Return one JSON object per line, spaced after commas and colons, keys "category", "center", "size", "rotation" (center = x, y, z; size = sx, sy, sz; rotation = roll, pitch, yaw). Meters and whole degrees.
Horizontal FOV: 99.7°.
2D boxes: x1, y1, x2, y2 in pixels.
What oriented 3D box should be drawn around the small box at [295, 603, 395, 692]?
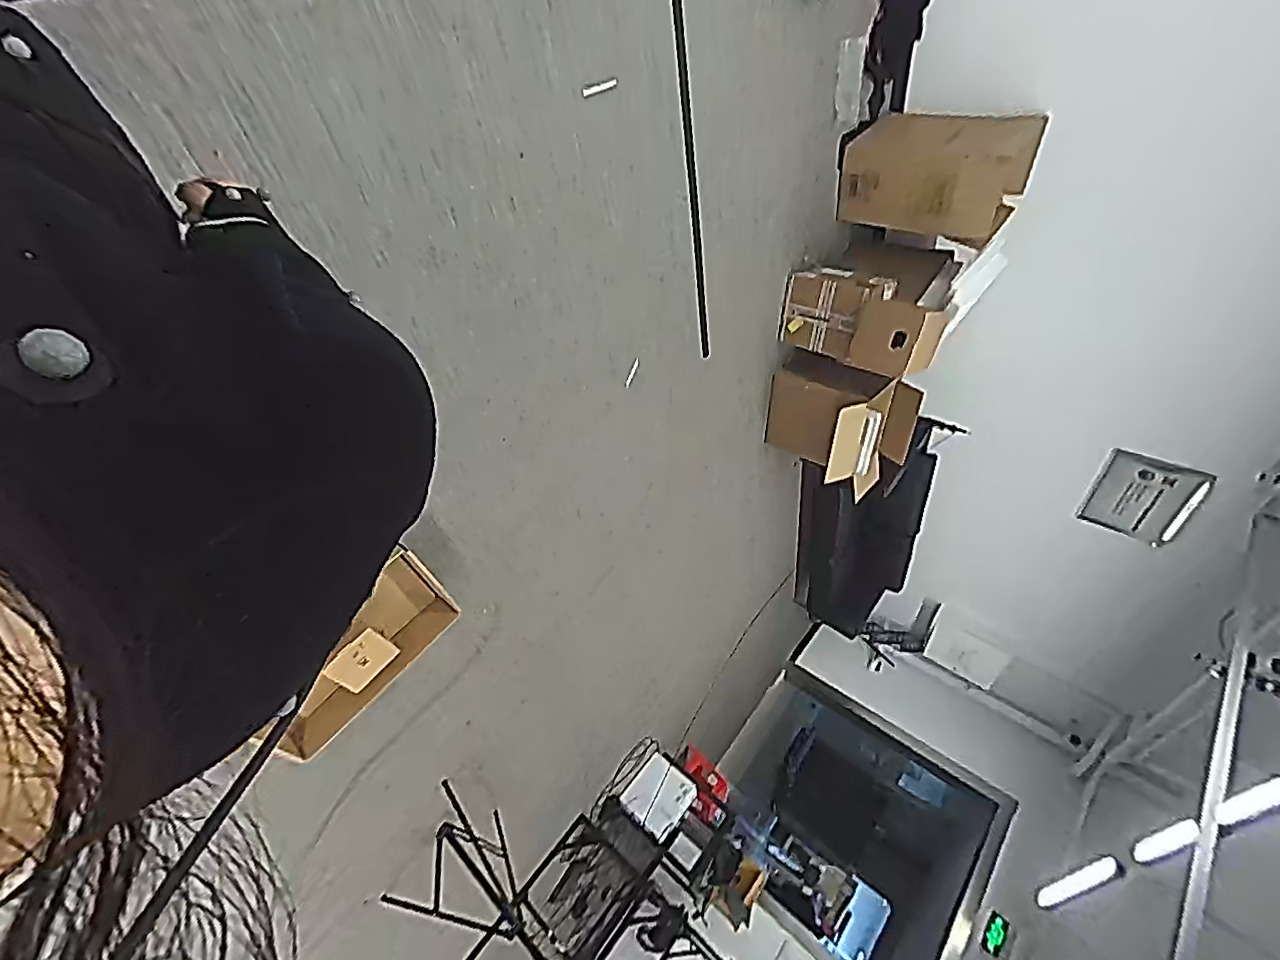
{"category": "small box", "center": [-0.891, 0.501, 1.634], "size": [0.168, 0.176, 0.179], "rotation": [-48, 144, -24]}
